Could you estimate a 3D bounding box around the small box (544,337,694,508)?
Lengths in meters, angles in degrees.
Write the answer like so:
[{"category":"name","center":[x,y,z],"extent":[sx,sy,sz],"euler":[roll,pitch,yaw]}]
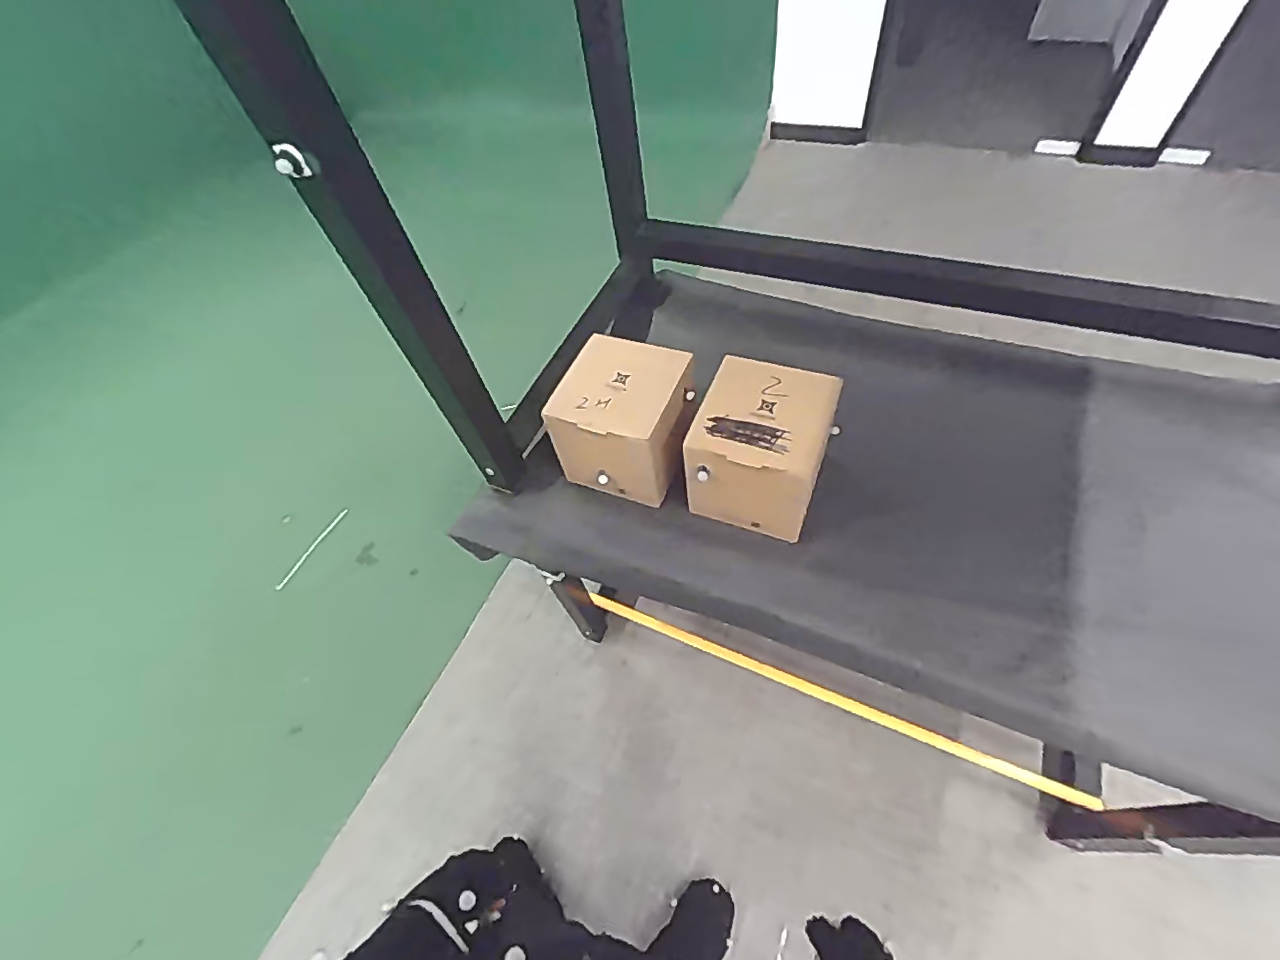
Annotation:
[{"category":"small box","center":[-0.021,-0.087,0.835],"extent":[0.168,0.176,0.179],"euler":[16,59,18]}]
